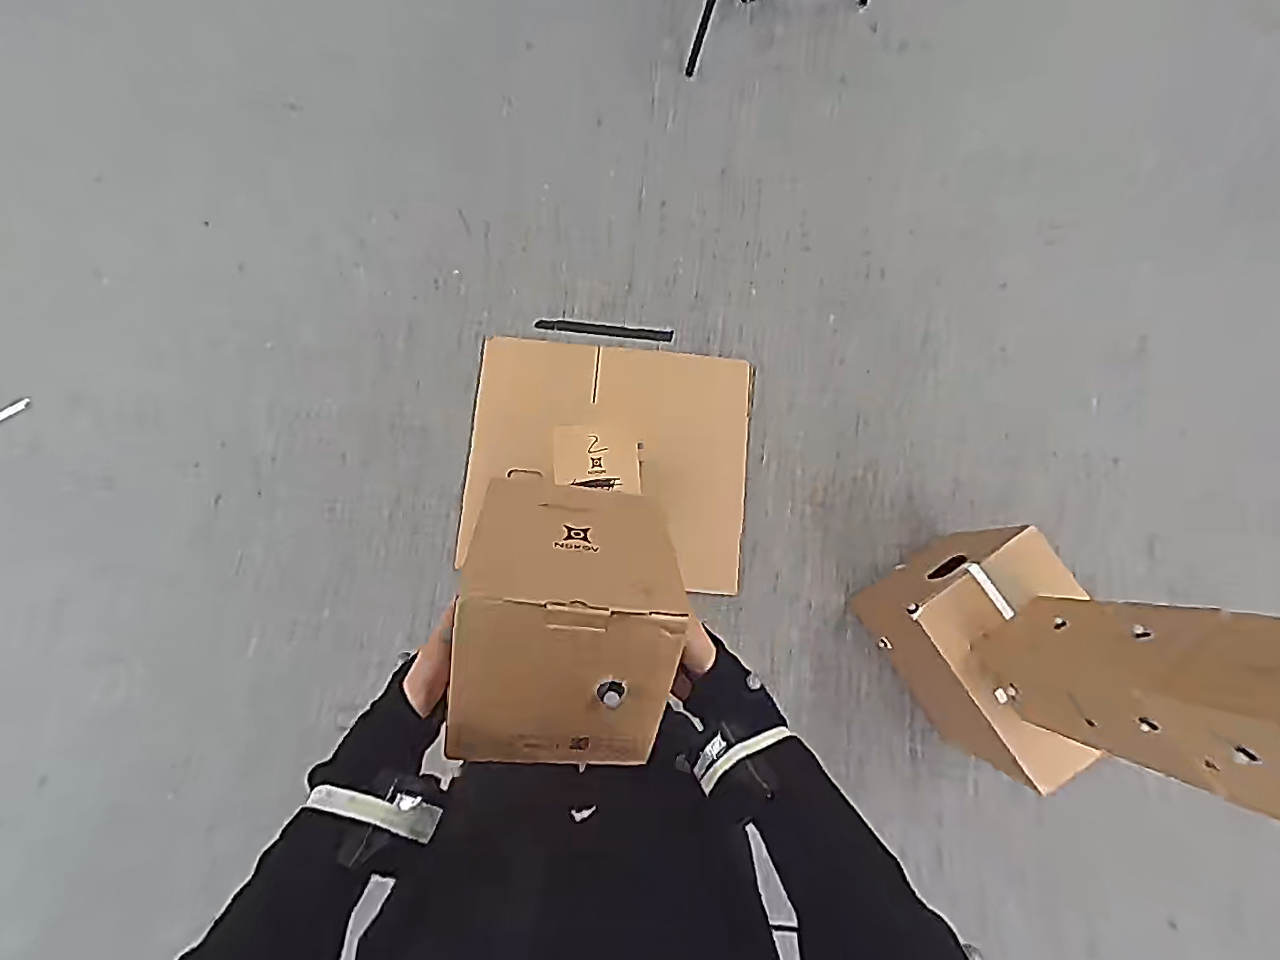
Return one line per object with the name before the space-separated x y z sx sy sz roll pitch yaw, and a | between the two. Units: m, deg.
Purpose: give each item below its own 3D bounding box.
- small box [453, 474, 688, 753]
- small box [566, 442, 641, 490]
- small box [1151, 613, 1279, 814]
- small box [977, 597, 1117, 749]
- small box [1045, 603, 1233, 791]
small box | -0.066 0.115 0.482 0.168 0.179 0.176 8 117 -10
small box | -0.082 0.017 1.271 0.168 0.176 0.179 -3 82 1
small box | 0.751 0.270 0.614 0.179 0.176 0.168 -34 83 -6
small box | 0.741 0.319 0.938 0.179 0.176 0.168 -34 83 -5
small box | 0.747 0.291 0.776 0.179 0.176 0.168 -34 83 -7
